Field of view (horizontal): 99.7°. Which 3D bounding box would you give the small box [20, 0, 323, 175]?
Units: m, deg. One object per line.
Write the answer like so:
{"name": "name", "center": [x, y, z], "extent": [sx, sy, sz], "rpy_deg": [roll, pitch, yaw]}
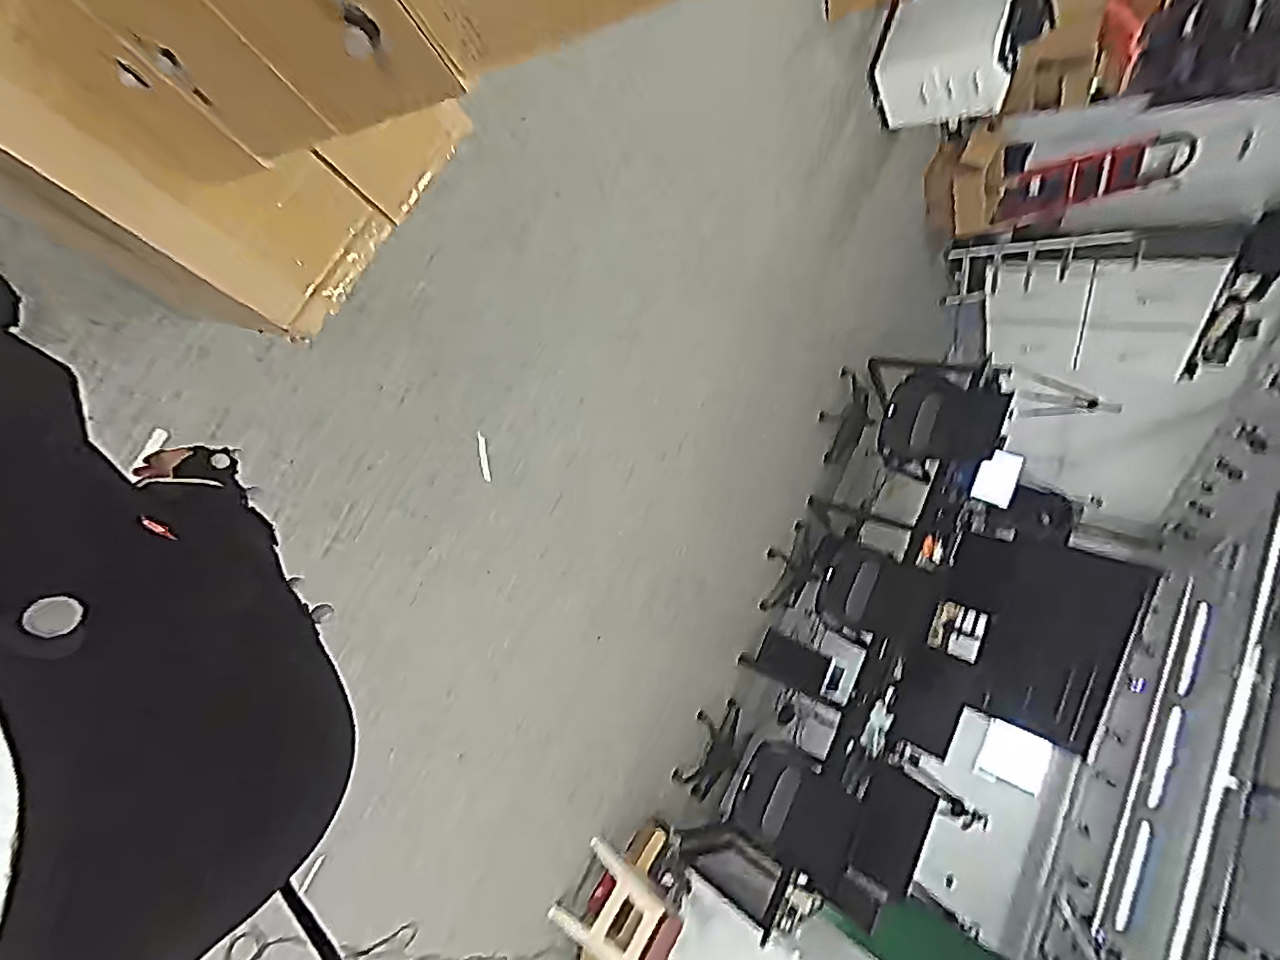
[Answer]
{"name": "small box", "center": [-0.408, -0.415, 0.500], "extent": [0.179, 0.176, 0.168], "rpy_deg": [43, 70, -50]}

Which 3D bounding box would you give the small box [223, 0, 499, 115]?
{"name": "small box", "center": [-0.157, -0.340, 0.301], "extent": [0.179, 0.176, 0.168], "rpy_deg": [43, 71, -49]}
